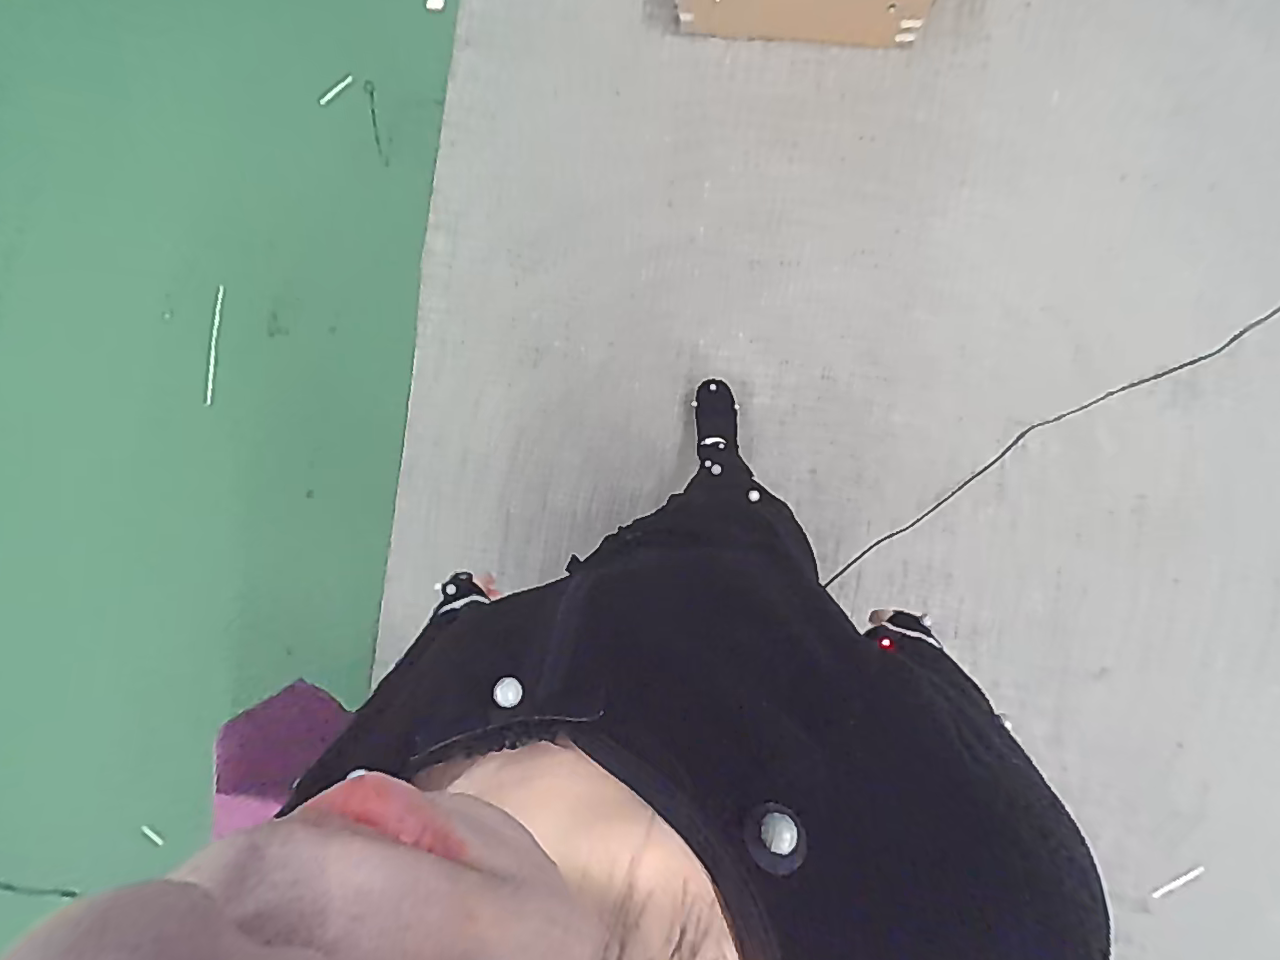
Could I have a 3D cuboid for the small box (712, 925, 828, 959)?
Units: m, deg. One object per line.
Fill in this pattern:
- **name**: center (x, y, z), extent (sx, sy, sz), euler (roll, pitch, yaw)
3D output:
- **small box**: center (0.170, 0.738, 0.696), extent (0.168, 0.176, 0.179), euler (7, 92, 7)
